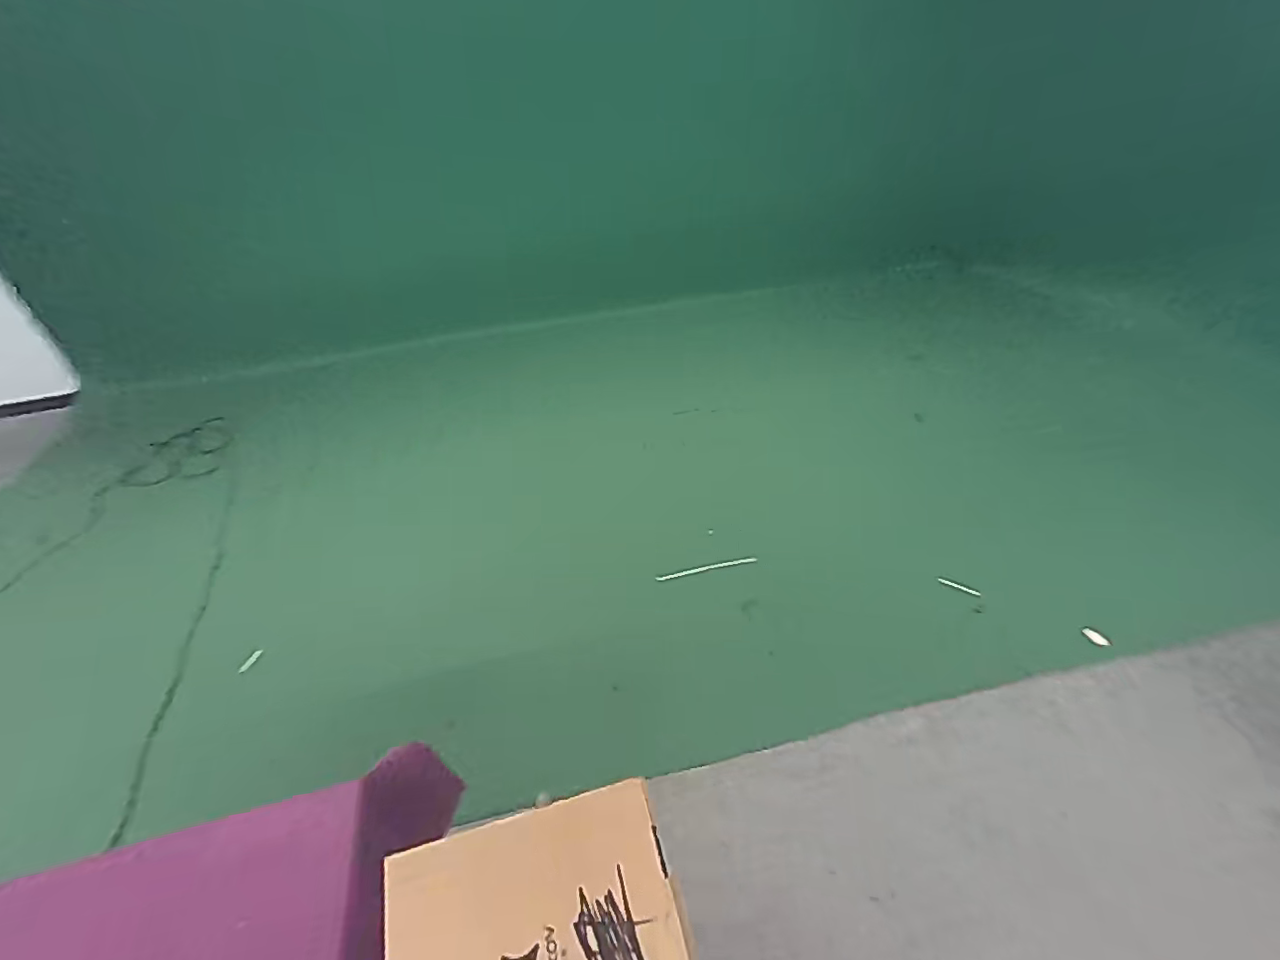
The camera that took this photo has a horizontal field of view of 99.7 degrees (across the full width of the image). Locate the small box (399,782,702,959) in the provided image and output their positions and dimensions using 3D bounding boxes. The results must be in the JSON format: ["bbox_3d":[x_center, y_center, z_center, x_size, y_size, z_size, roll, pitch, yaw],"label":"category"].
[{"bbox_3d":[-0.050,0.332,0.380,0.179,0.176,0.168,-13,54,-7],"label":"small box"}]
